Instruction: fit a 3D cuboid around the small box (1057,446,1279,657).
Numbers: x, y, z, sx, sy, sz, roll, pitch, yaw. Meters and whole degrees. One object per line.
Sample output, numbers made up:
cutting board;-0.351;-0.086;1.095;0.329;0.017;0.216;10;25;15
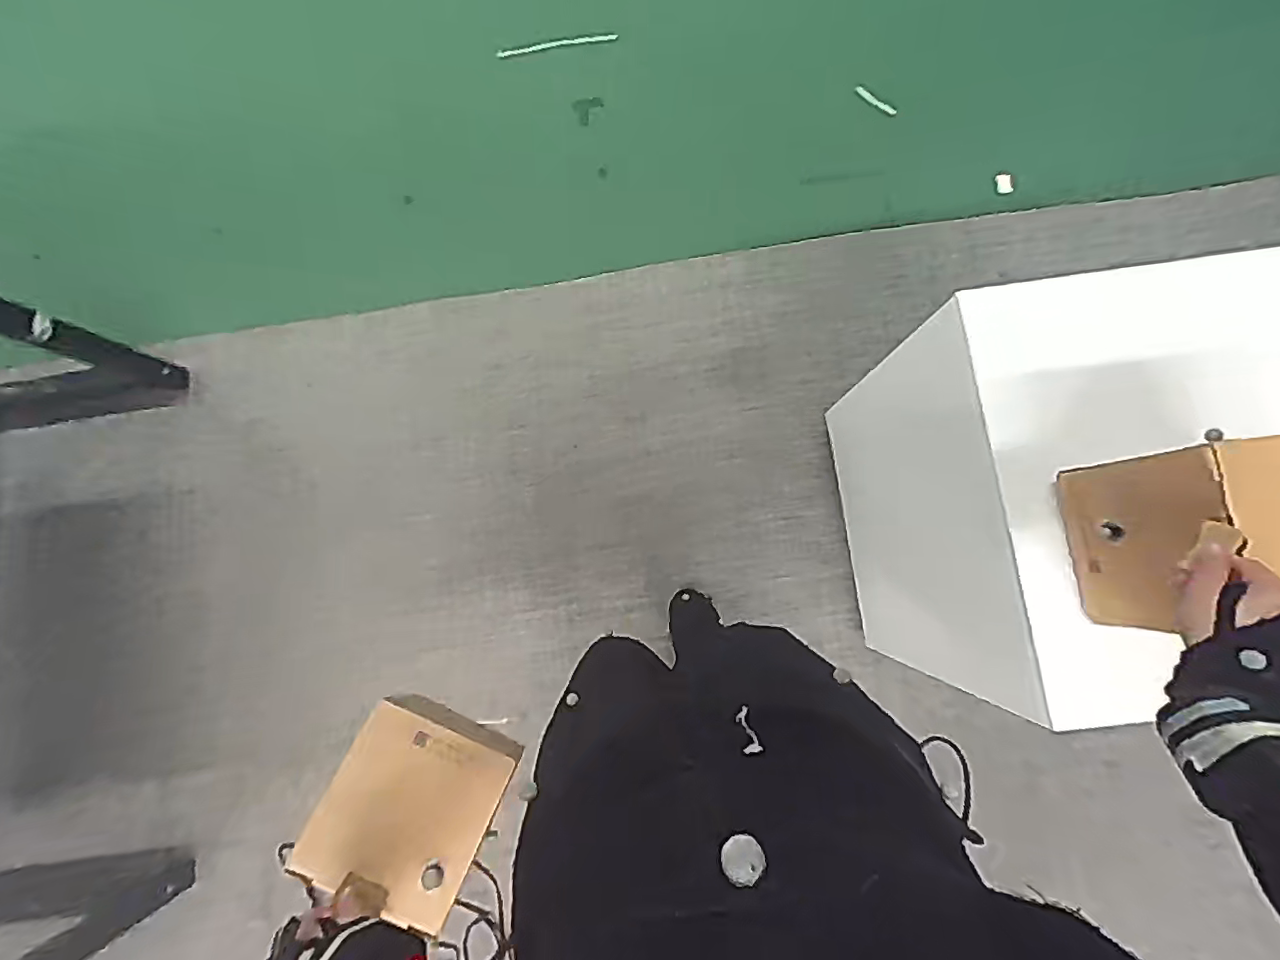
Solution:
small box;0.555;0.059;0.514;0.179;0.176;0.168;-8;83;0
